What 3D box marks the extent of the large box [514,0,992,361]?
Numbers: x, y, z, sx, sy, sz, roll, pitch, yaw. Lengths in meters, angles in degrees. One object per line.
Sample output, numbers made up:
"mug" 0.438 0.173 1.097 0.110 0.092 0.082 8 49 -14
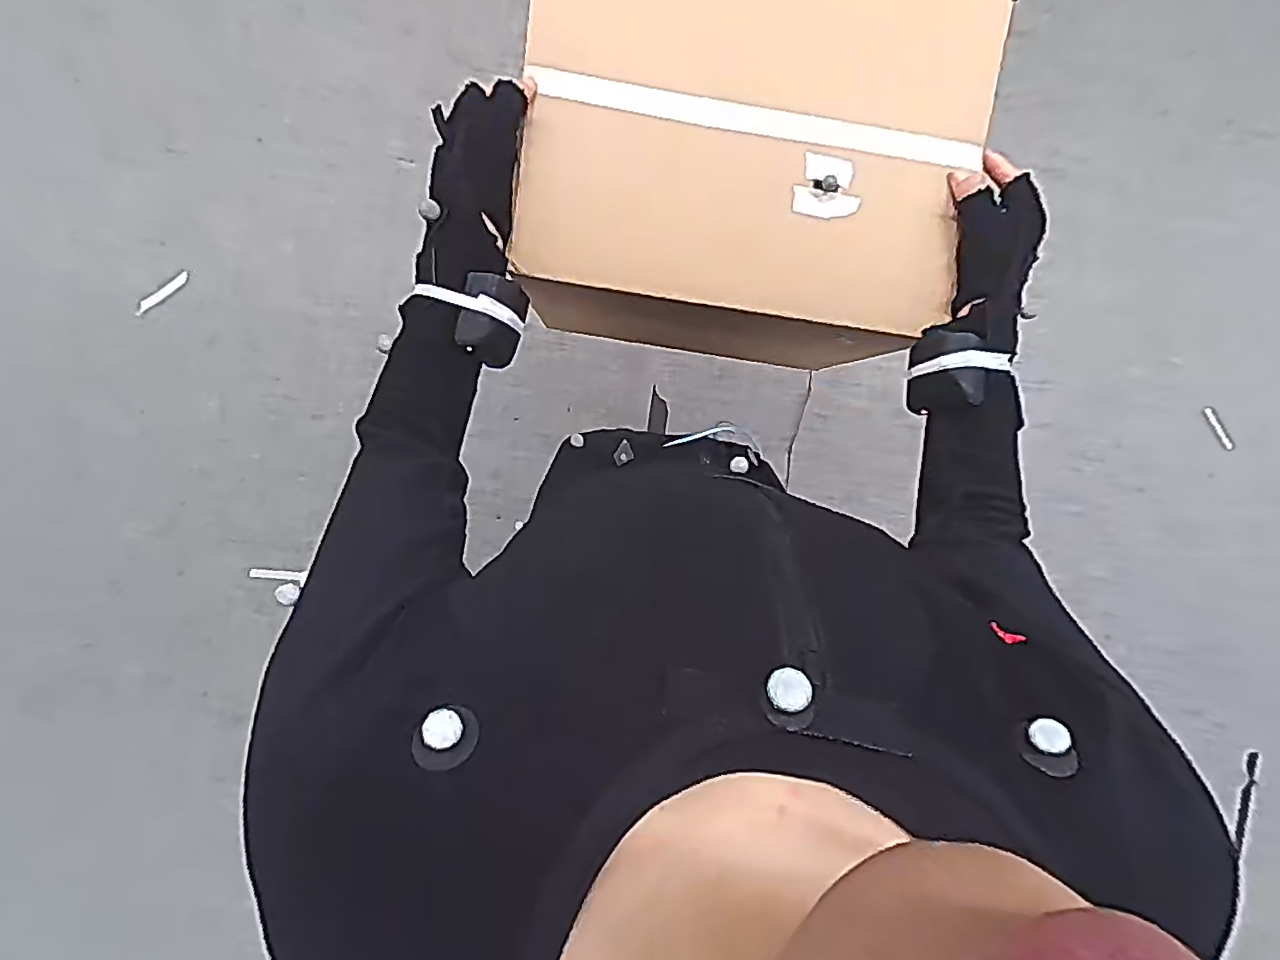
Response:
"large box" 0.089 -0.333 0.629 0.408 0.320 0.320 8 97 -5
